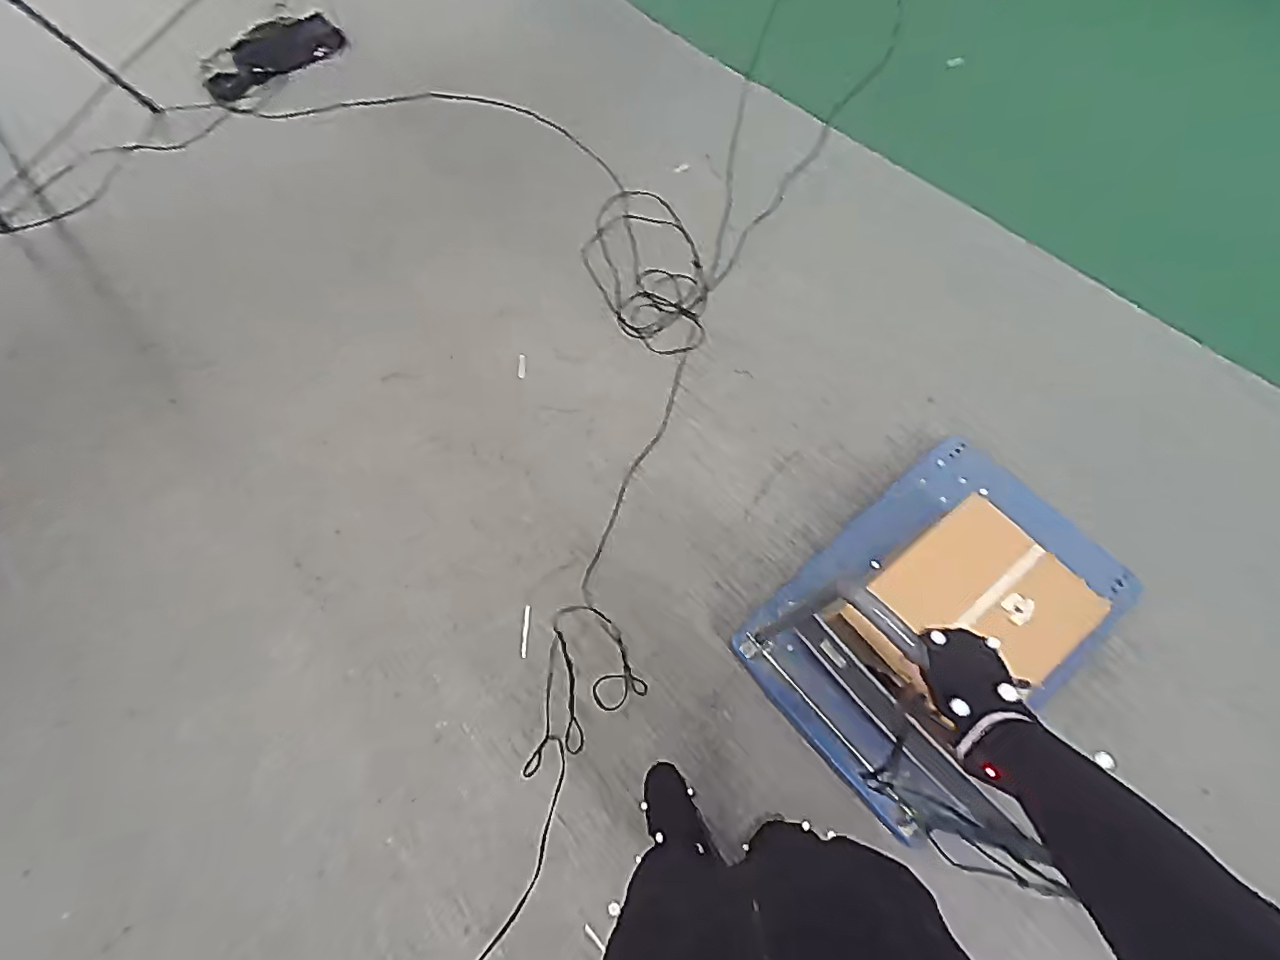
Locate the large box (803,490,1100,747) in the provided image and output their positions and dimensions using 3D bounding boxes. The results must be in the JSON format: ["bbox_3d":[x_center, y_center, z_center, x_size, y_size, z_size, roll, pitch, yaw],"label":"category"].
[{"bbox_3d":[0.628,0.301,1.161,0.408,0.320,0.320,-37,72,-13],"label":"large box"}]
